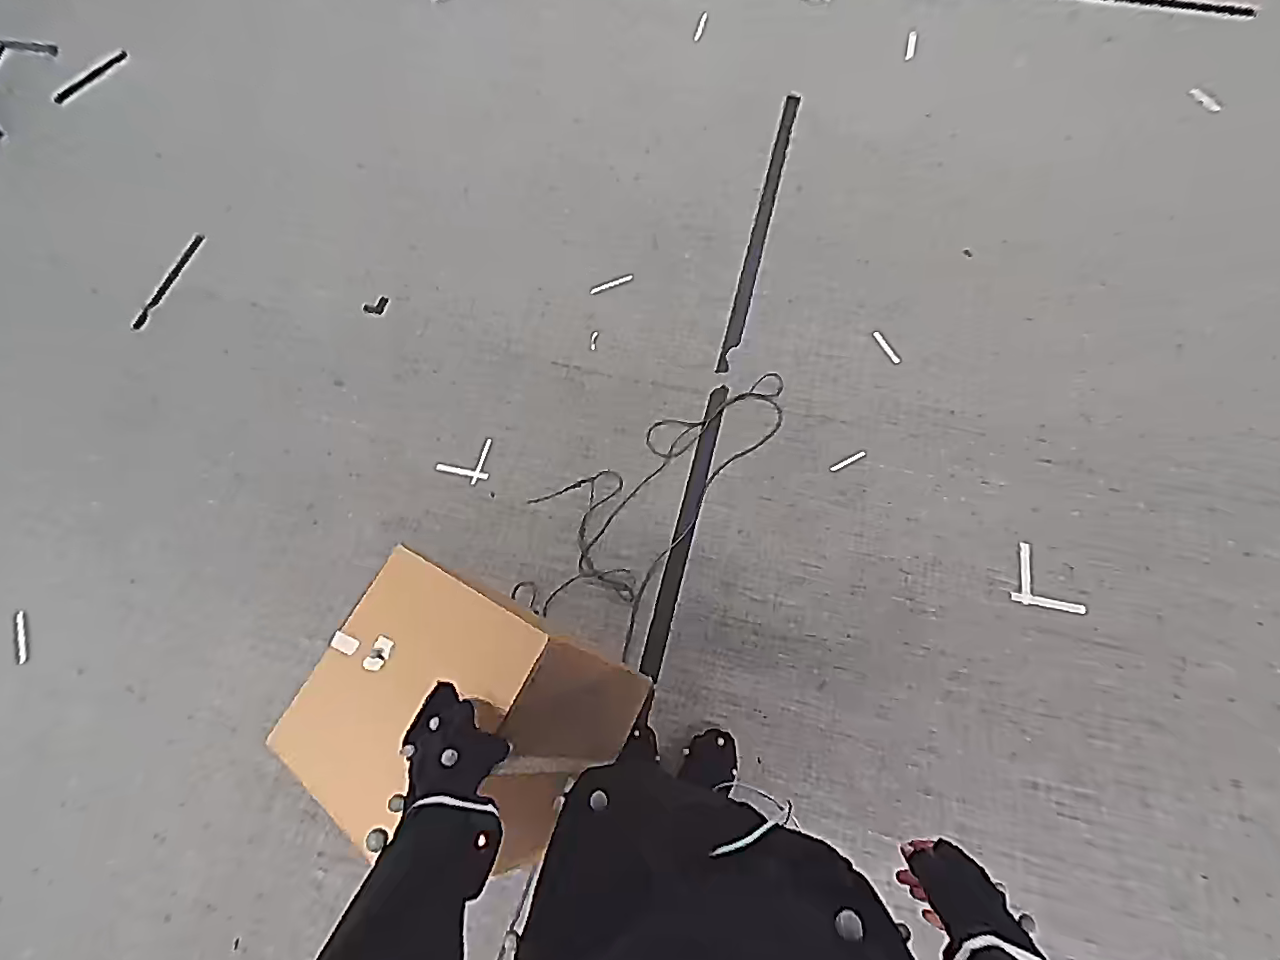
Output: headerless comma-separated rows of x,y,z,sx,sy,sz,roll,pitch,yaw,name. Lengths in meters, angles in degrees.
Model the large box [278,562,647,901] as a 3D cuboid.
-0.245,0.371,0.867,0.320,0.408,0.320,21,74,29,large box
